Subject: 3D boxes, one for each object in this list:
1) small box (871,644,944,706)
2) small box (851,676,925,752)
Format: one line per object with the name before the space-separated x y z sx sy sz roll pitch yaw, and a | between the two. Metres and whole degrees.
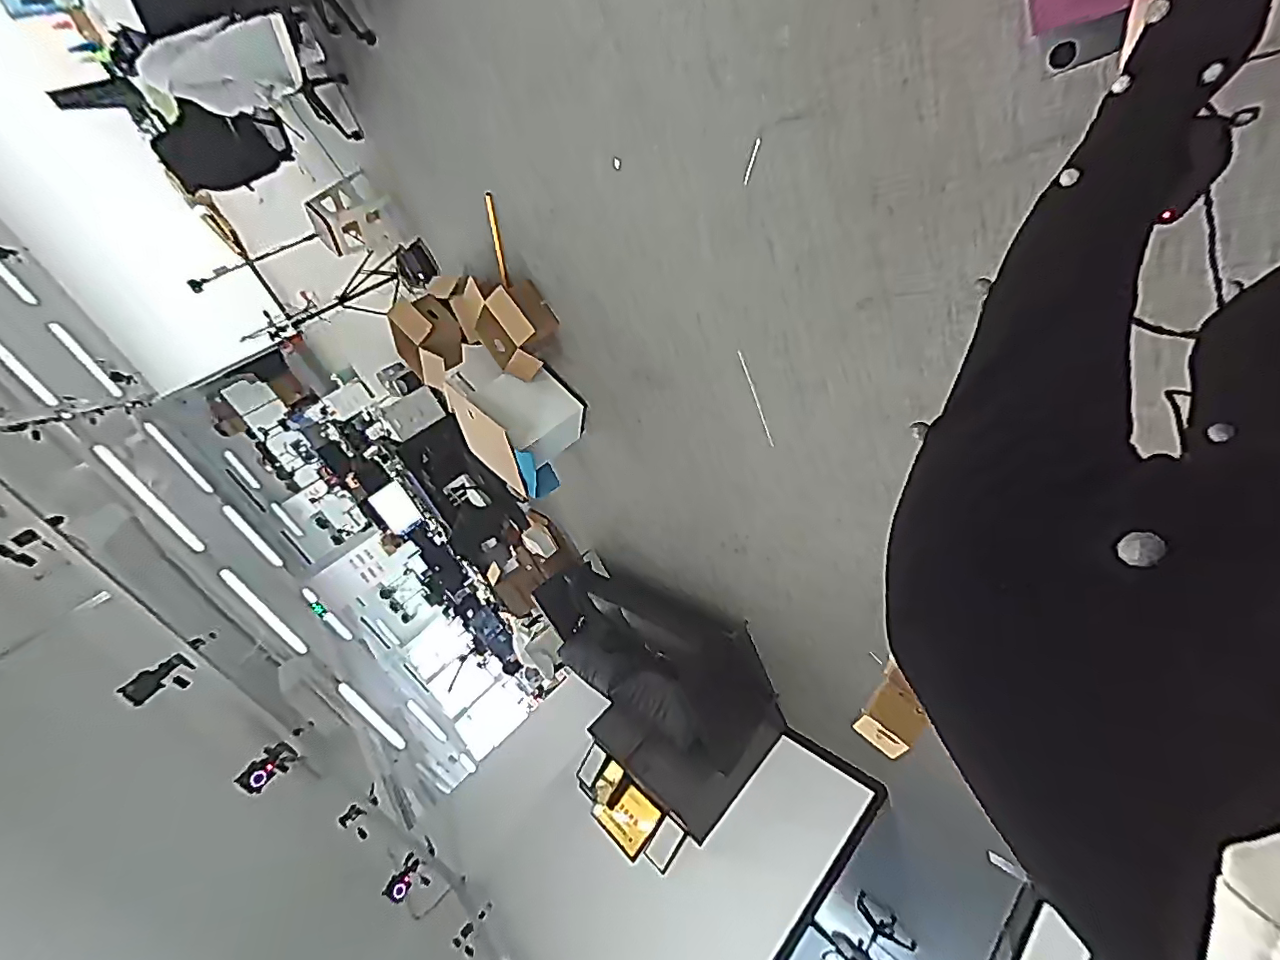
small box | 1.019 0.759 2.054 0.168 0.176 0.179 35 149 26
small box | 0.909 0.851 1.975 0.168 0.176 0.179 35 151 26
